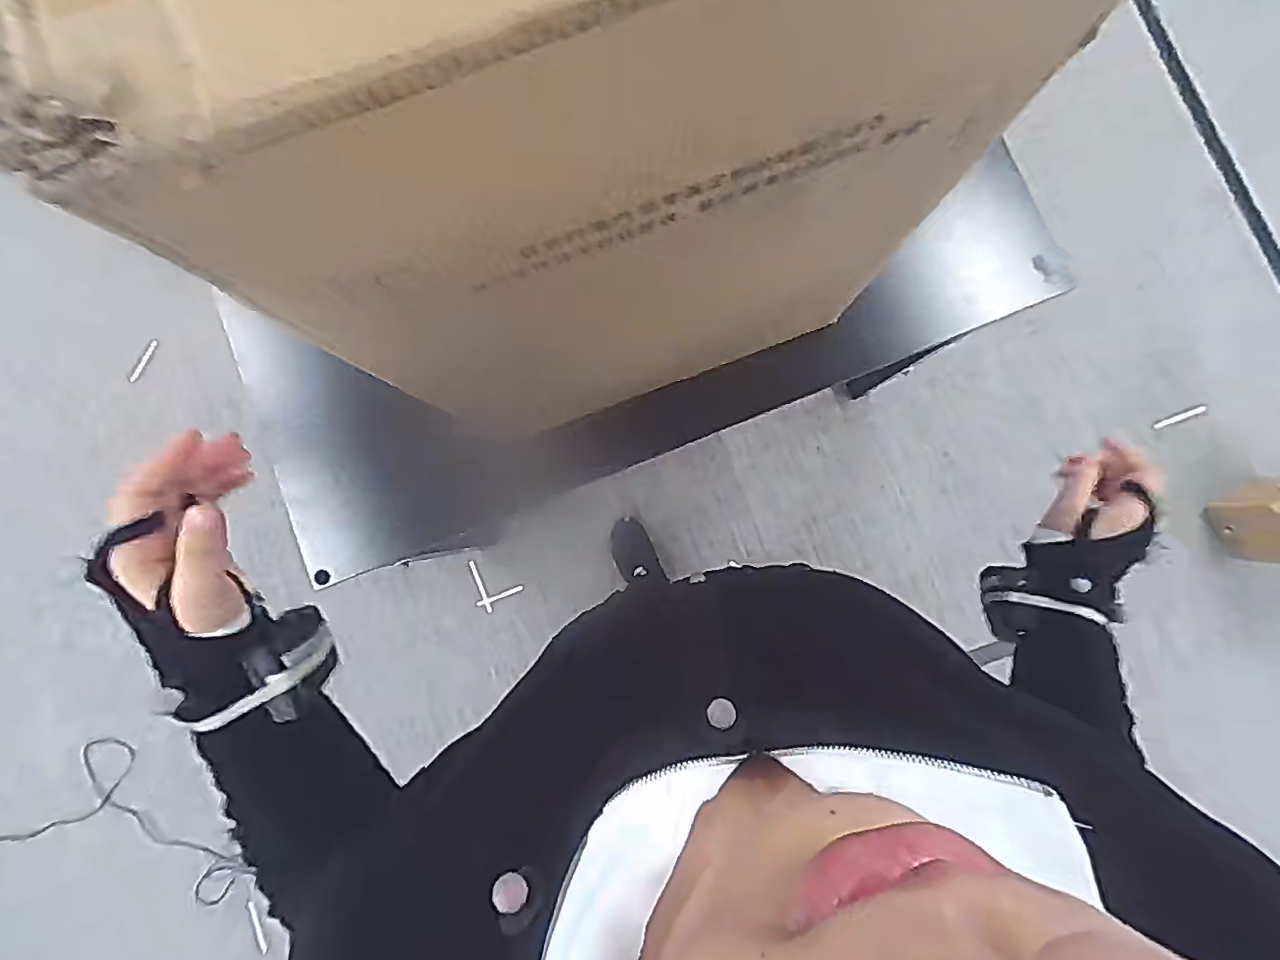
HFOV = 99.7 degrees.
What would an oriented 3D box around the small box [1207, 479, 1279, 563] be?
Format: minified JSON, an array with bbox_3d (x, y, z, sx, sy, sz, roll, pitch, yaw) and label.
[{"bbox_3d":[1.650,0.101,1.391,0.179,0.176,0.168,-28,85,1],"label":"small box"}]
